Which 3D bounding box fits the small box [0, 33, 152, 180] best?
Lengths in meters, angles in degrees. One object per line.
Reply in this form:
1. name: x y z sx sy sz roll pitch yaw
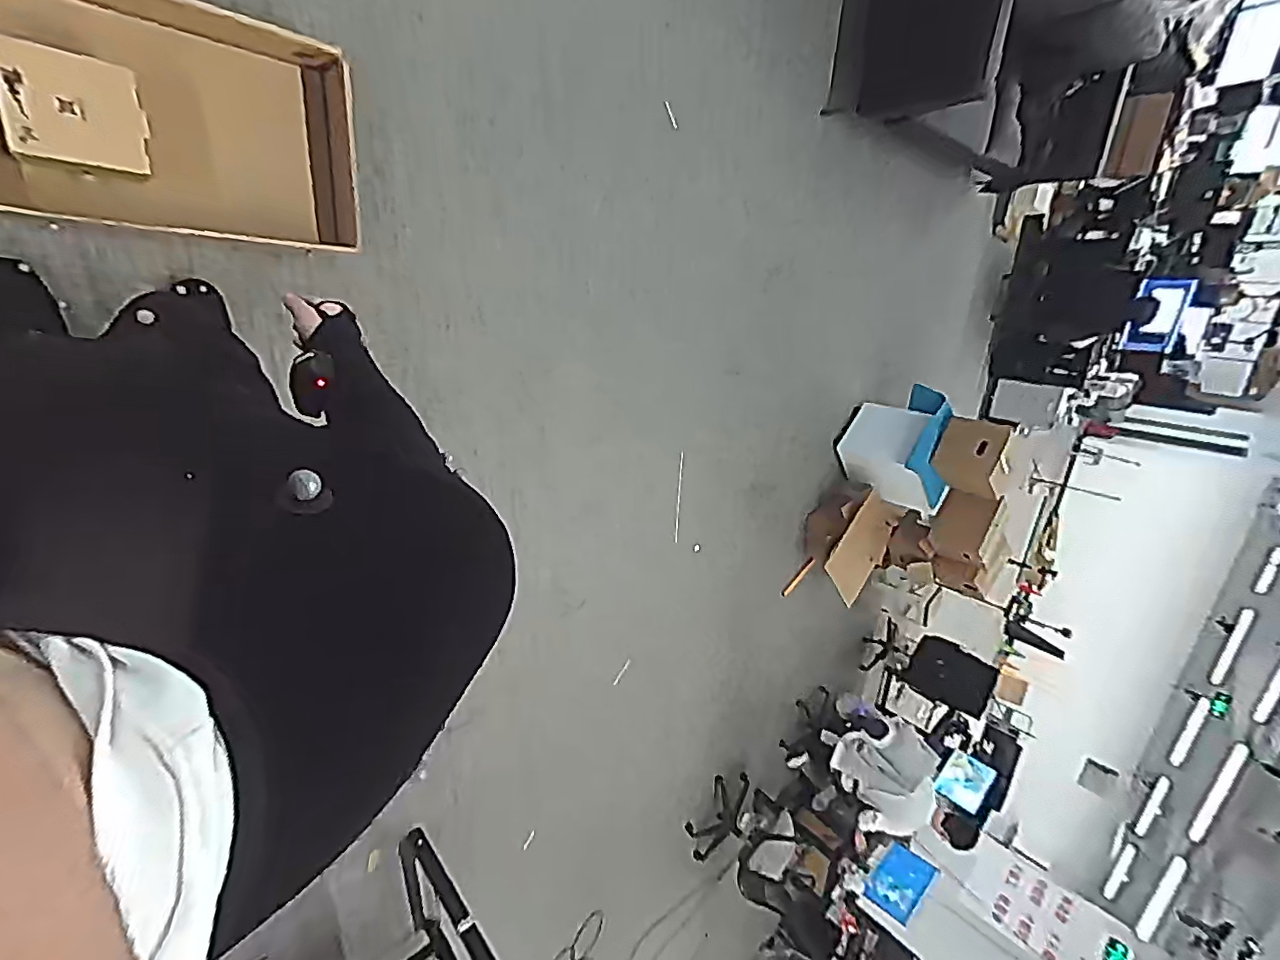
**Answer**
1. small box: -0.994 -0.638 0.949 0.179 0.176 0.168 -12 113 -43
